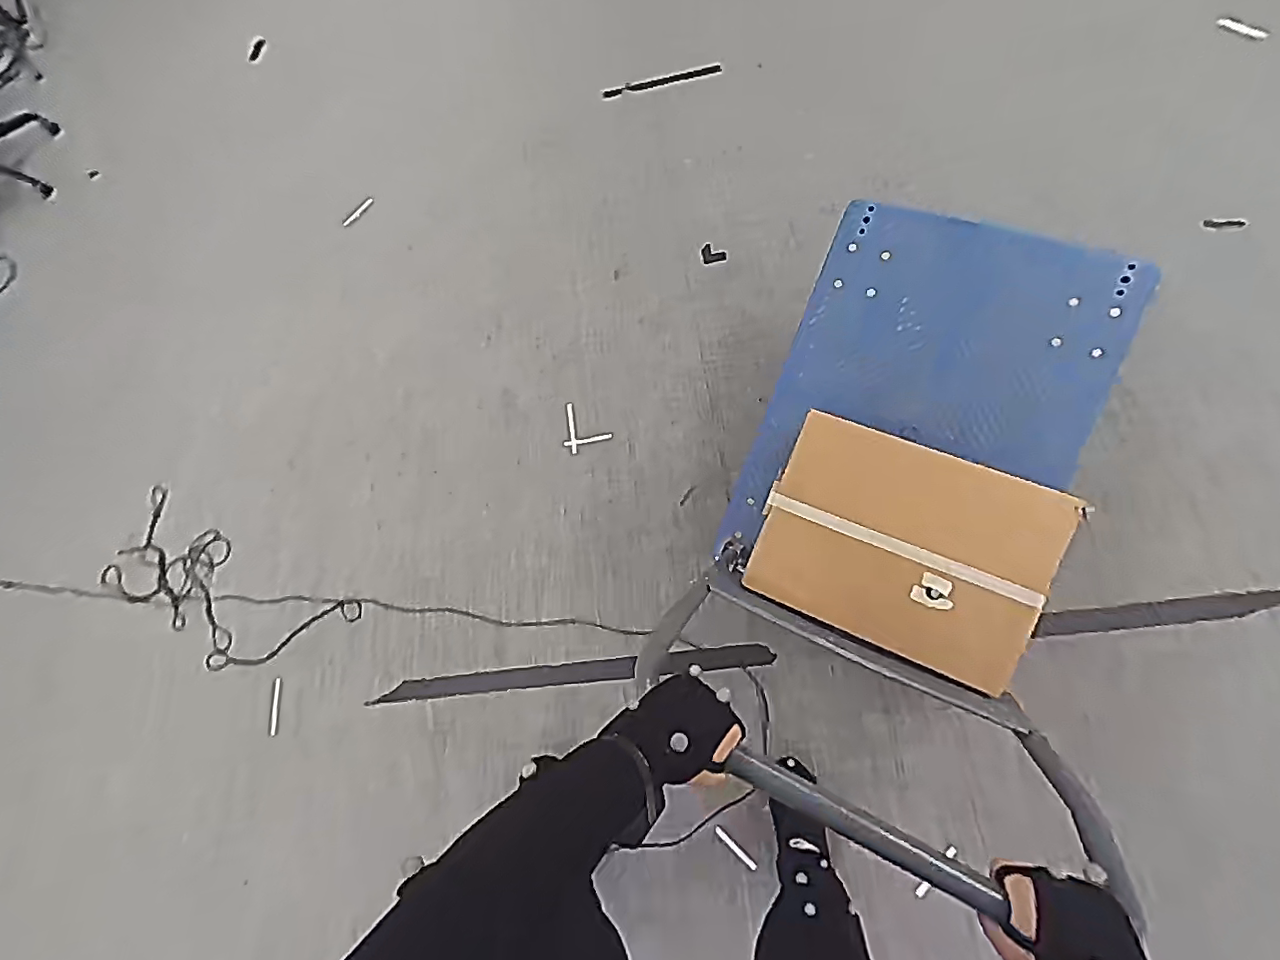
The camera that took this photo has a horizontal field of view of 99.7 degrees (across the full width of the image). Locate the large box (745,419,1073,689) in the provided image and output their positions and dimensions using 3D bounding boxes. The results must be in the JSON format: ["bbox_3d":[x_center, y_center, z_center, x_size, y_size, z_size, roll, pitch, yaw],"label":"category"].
[{"bbox_3d":[0.442,0.110,0.992,0.408,0.320,0.320,22,95,15],"label":"large box"}]
